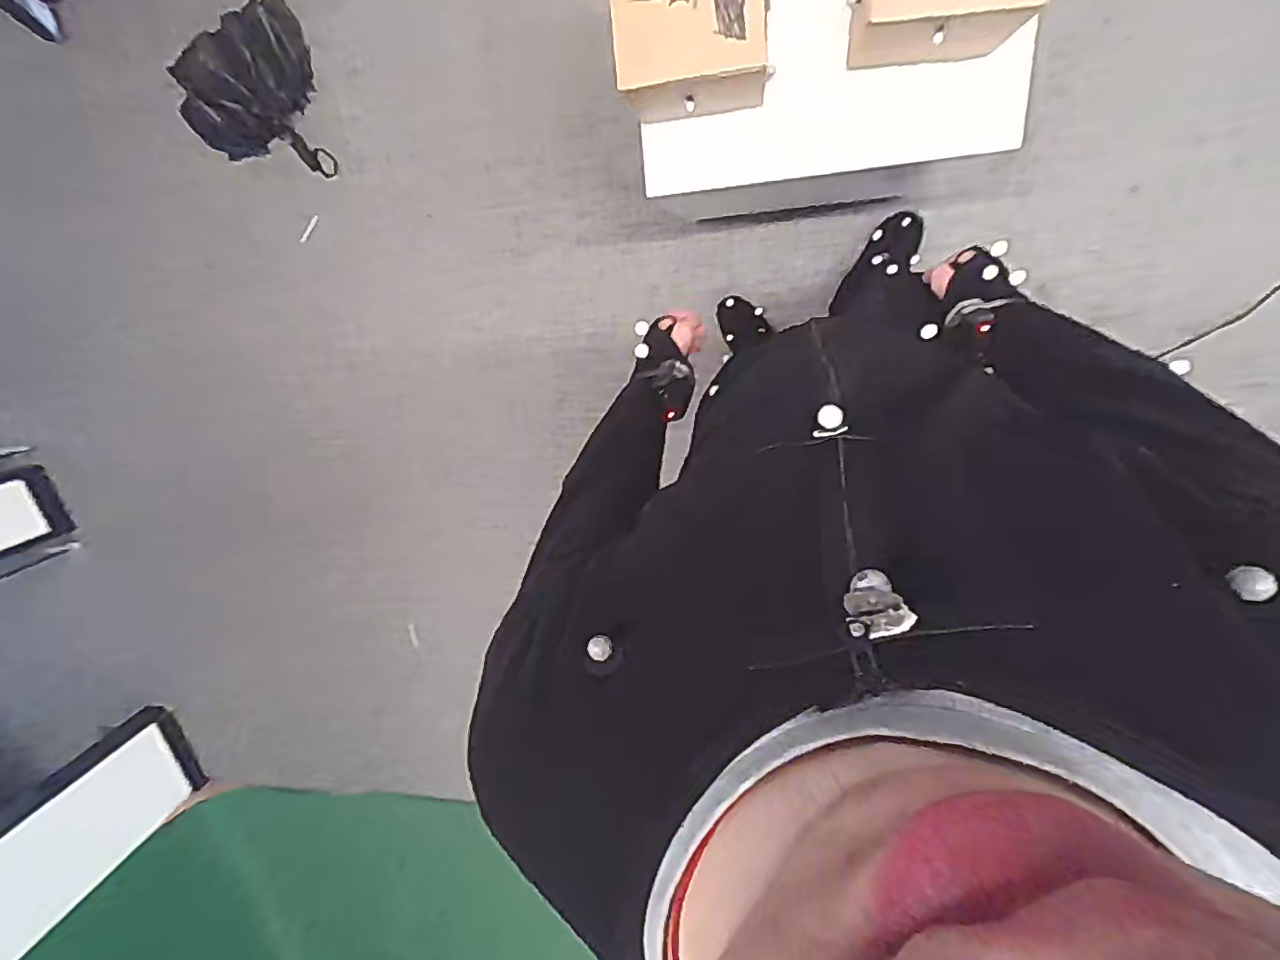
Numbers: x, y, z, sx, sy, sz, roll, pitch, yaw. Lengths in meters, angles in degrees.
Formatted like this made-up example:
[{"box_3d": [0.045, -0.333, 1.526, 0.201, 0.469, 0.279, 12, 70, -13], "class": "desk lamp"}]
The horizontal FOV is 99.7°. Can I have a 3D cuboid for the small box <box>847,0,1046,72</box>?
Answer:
[{"box_3d": [0.340, -0.585, 0.607, 0.179, 0.176, 0.168, 3, 113, 11], "class": "small box"}]

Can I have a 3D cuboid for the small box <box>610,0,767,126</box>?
[{"box_3d": [0.066, -0.563, 0.672, 0.179, 0.176, 0.168, 0, 111, 13], "class": "small box"}]
